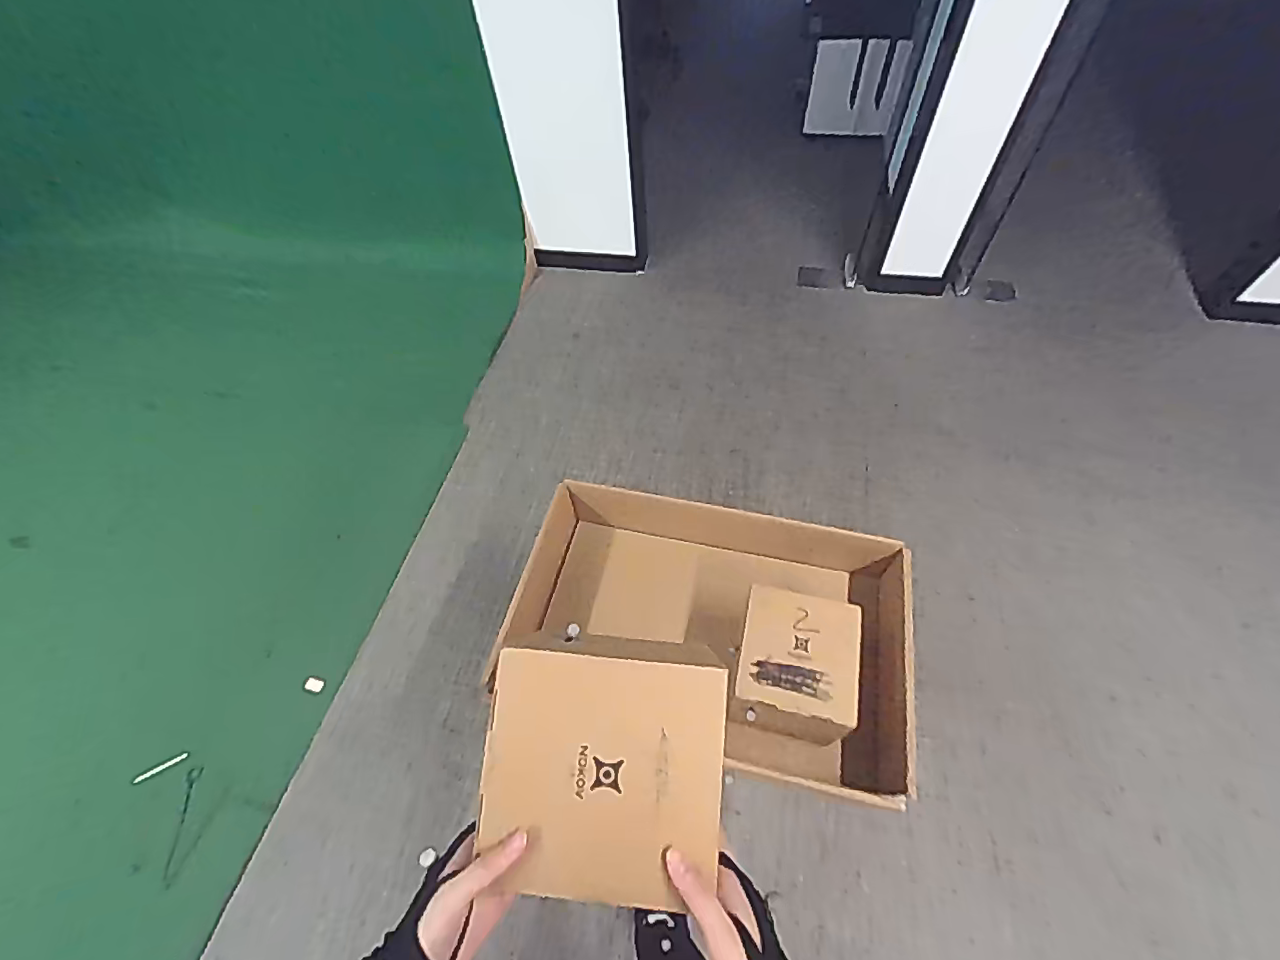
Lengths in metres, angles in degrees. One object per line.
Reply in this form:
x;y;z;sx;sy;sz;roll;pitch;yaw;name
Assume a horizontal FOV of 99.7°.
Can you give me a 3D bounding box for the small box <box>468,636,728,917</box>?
-0.025;0.231;0.471;0.179;0.176;0.168;5;78;3;small box
